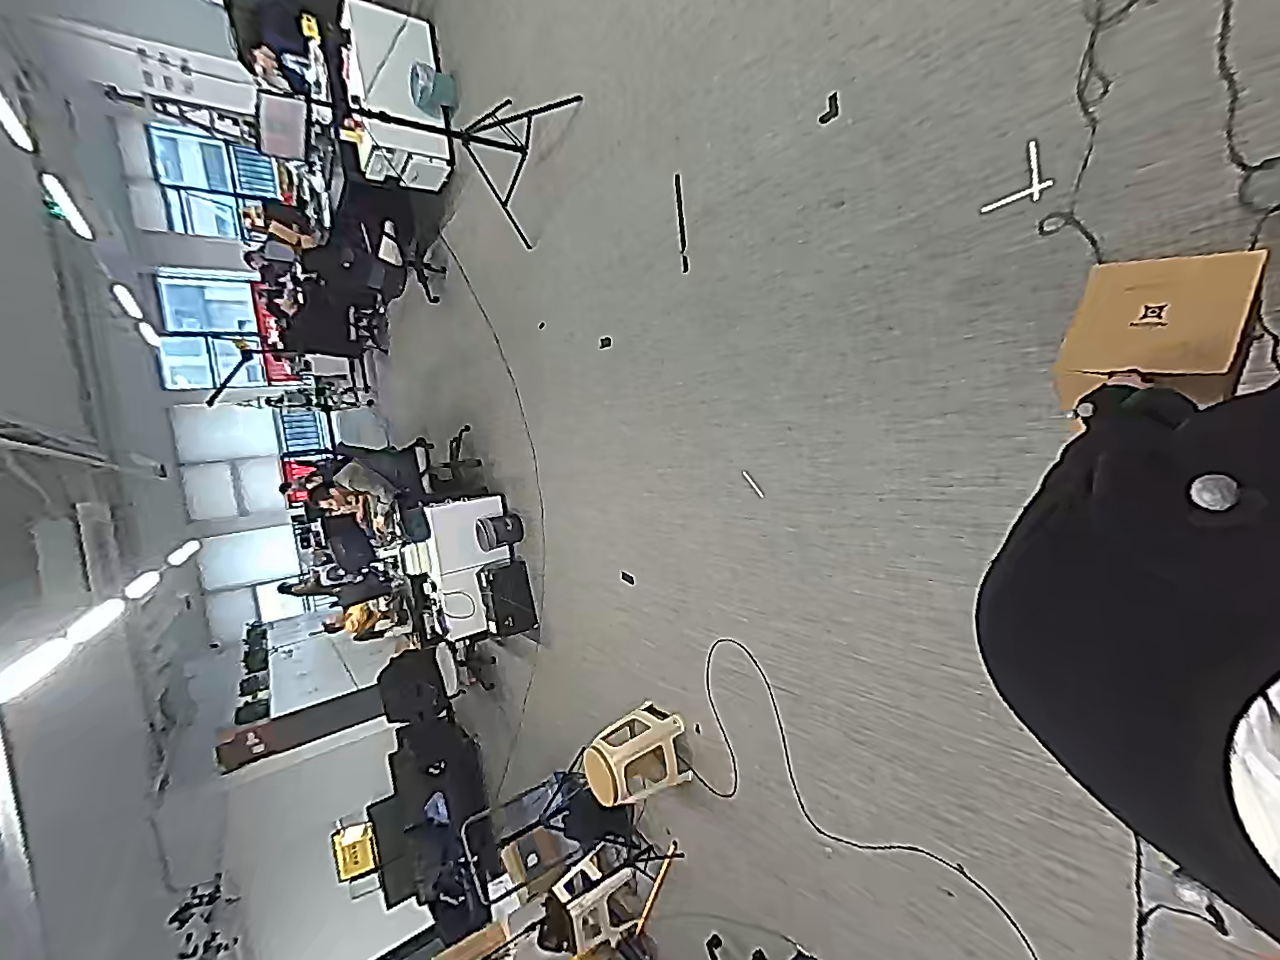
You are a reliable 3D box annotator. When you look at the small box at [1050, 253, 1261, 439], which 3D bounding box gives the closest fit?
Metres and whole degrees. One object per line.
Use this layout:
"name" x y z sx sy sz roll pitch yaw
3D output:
"small box" 0.694 -0.173 0.735 0.168 0.176 0.179 17 77 48
